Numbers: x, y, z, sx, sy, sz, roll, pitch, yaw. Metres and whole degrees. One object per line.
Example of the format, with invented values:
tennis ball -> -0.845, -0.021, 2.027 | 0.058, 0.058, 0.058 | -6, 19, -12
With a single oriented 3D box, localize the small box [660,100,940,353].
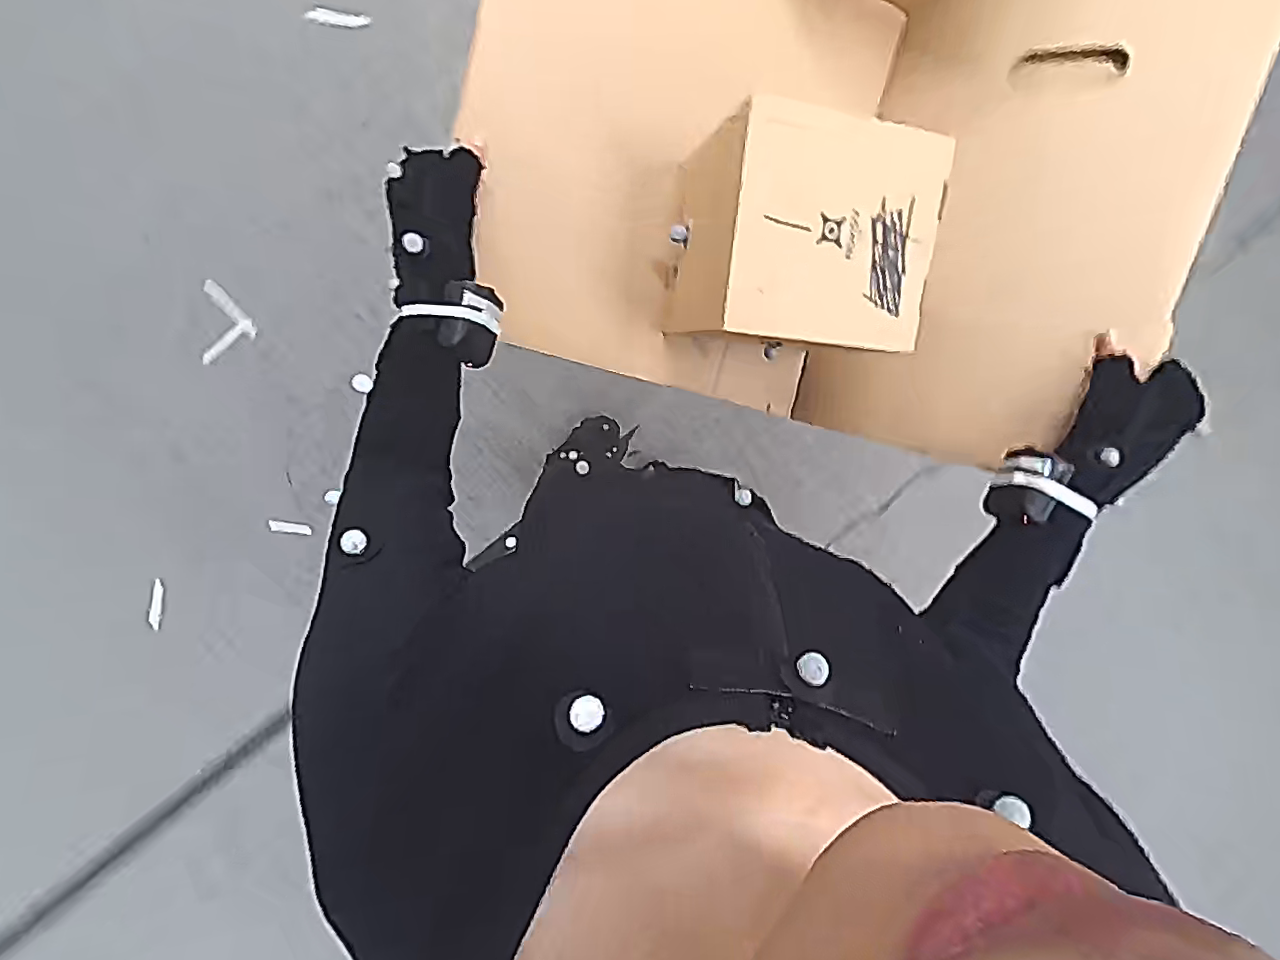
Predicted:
small box -> 0.131, -0.212, 0.504 | 0.179, 0.176, 0.168 | 2, 102, -14
